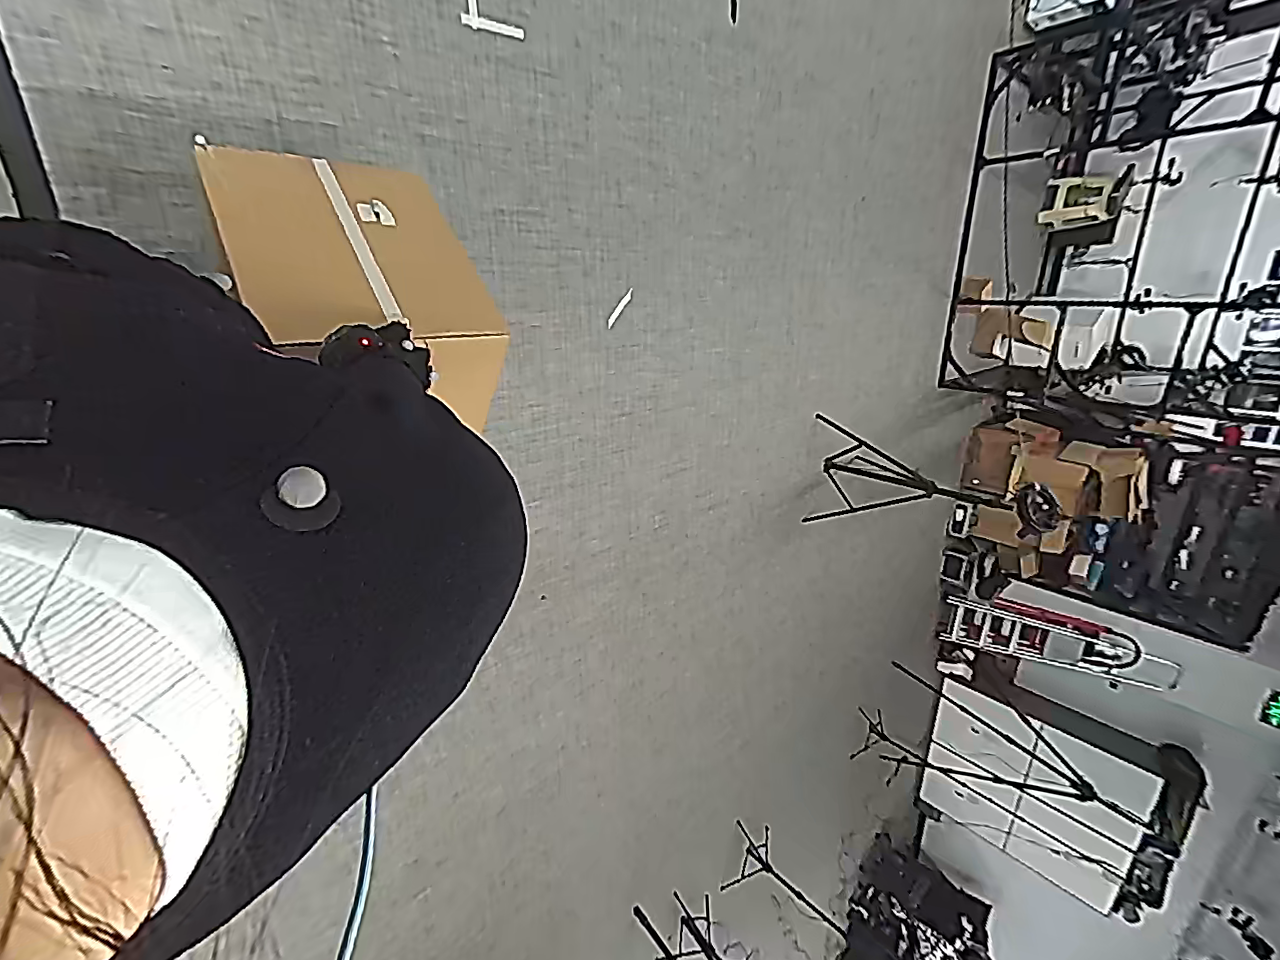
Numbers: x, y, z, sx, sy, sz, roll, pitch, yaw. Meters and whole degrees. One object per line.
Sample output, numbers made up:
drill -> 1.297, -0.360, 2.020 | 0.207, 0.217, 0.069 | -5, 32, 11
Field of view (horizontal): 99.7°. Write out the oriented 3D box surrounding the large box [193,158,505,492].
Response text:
large box -> -0.473, -0.250, 0.892 | 0.320, 0.408, 0.320 | -15, 152, -38
